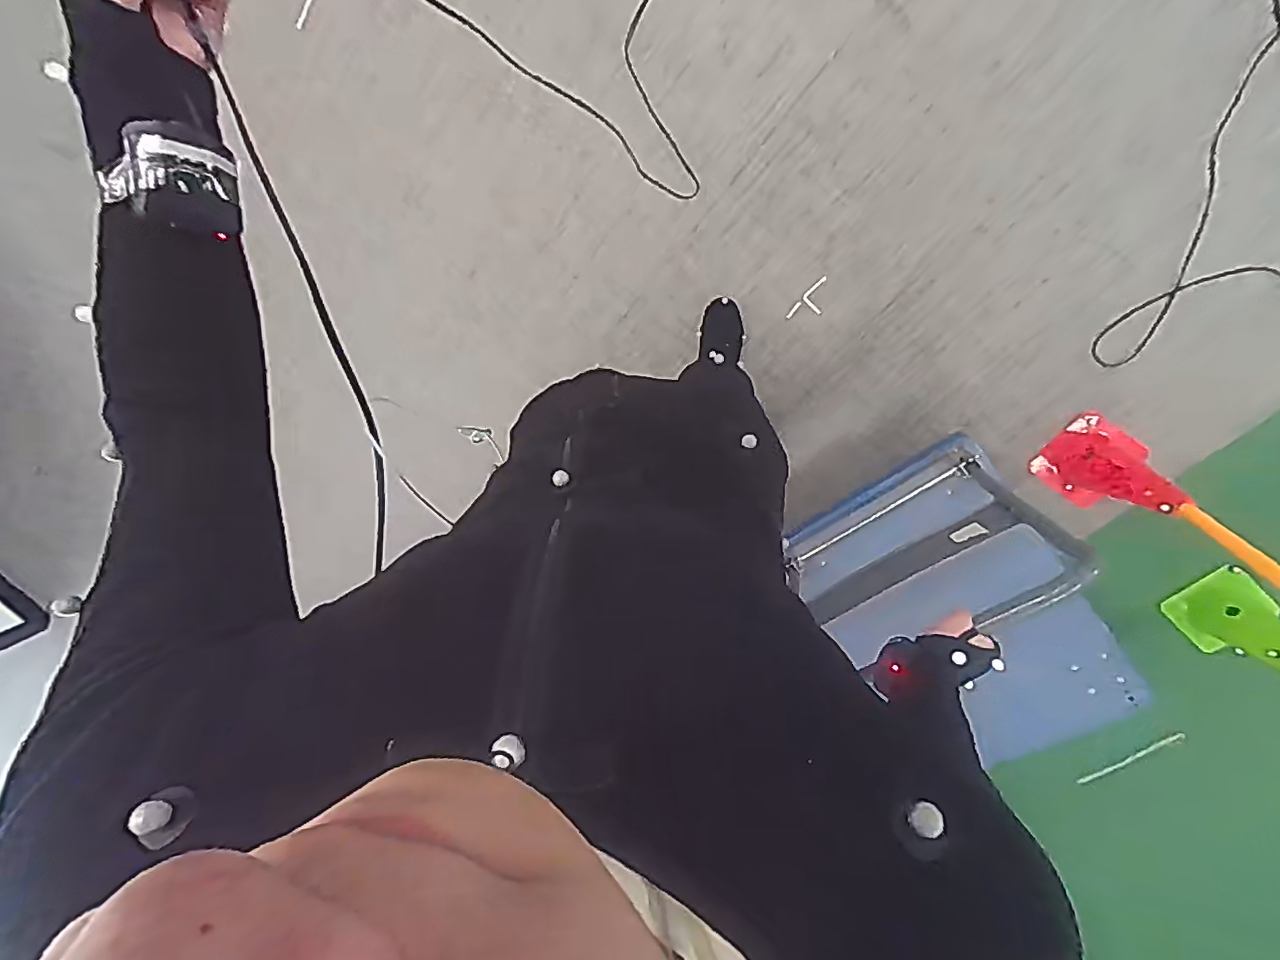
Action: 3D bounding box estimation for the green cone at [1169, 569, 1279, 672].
[{"bbox_3d":[1.488,0.398,1.240,0.202,0.368,0.200,42,111,-4],"label":"green cone"}]
